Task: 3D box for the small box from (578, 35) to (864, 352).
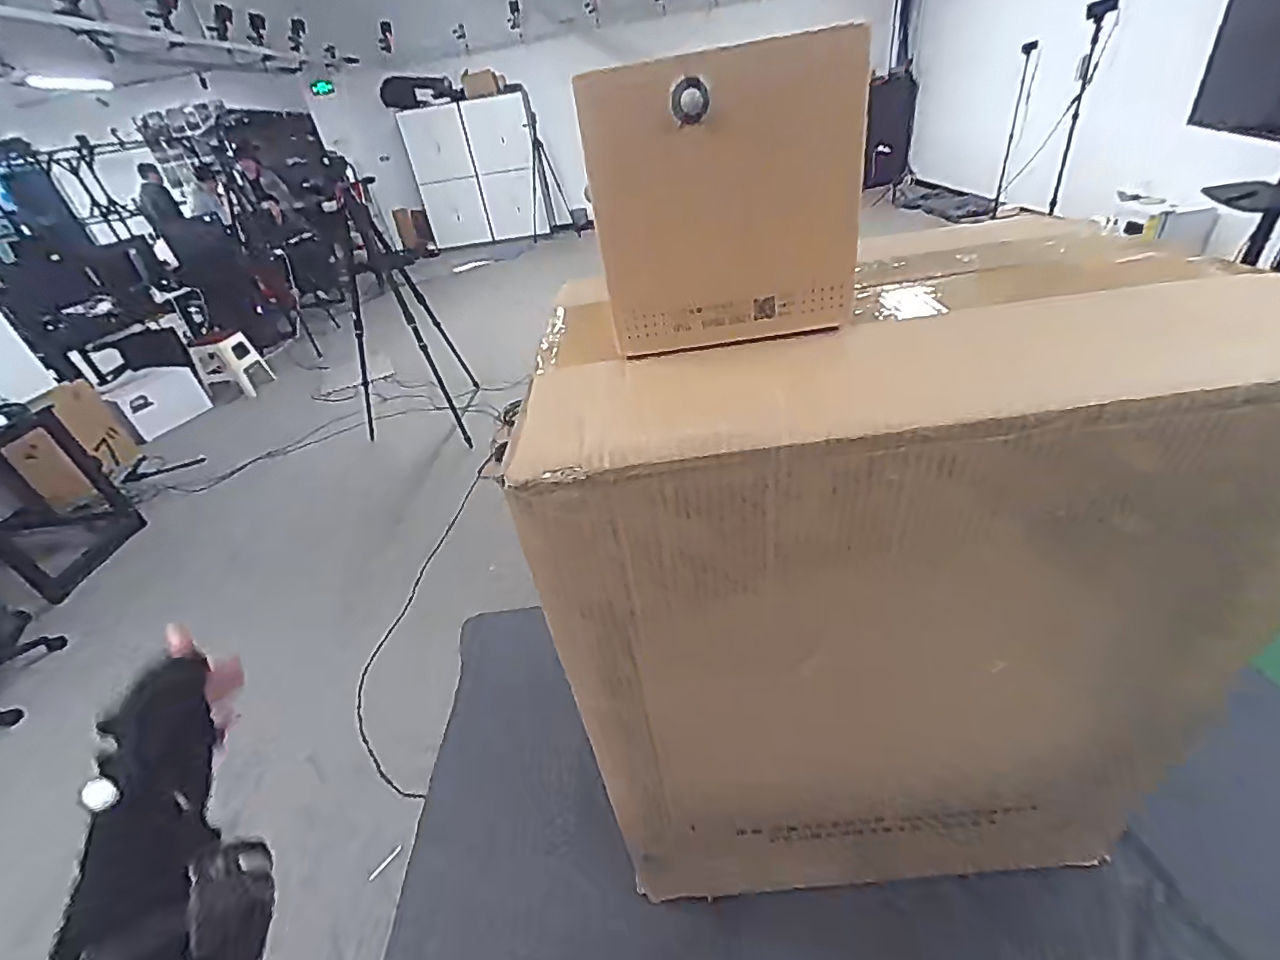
[{"bbox_3d":[0.056,-0.212,0.418,0.168,0.176,0.179,-7,32,4],"label":"small box"}]
